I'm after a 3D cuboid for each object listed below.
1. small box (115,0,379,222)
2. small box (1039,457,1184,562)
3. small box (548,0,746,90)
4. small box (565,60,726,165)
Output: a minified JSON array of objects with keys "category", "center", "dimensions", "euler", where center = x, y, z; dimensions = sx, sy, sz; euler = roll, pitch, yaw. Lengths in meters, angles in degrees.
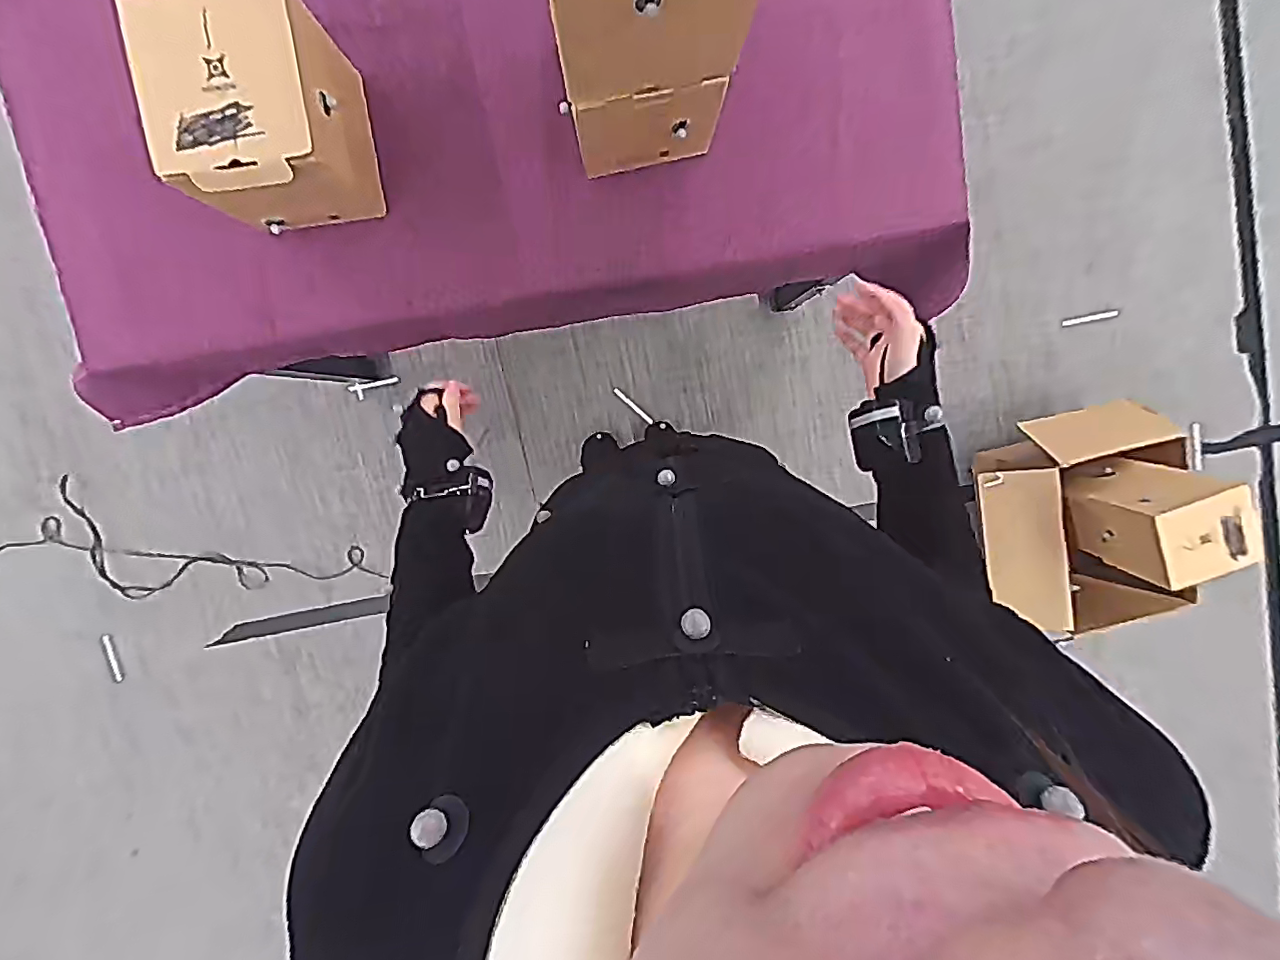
[{"category":"small box","center":[-0.424,-0.414,0.618],"dimensions":[0.168,0.176,0.179],"euler":[-8,97,-1]},{"category":"small box","center":[1.098,0.059,1.274],"dimensions":[0.168,0.176,0.179],"euler":[-32,100,6]},{"category":"small box","center":[-0.002,-0.471,0.459],"dimensions":[0.179,0.176,0.168],"euler":[-10,98,-1]},{"category":"small box","center":[-0.007,-0.491,0.622],"dimensions":[0.168,0.176,0.179],"euler":[-12,97,-1]}]
